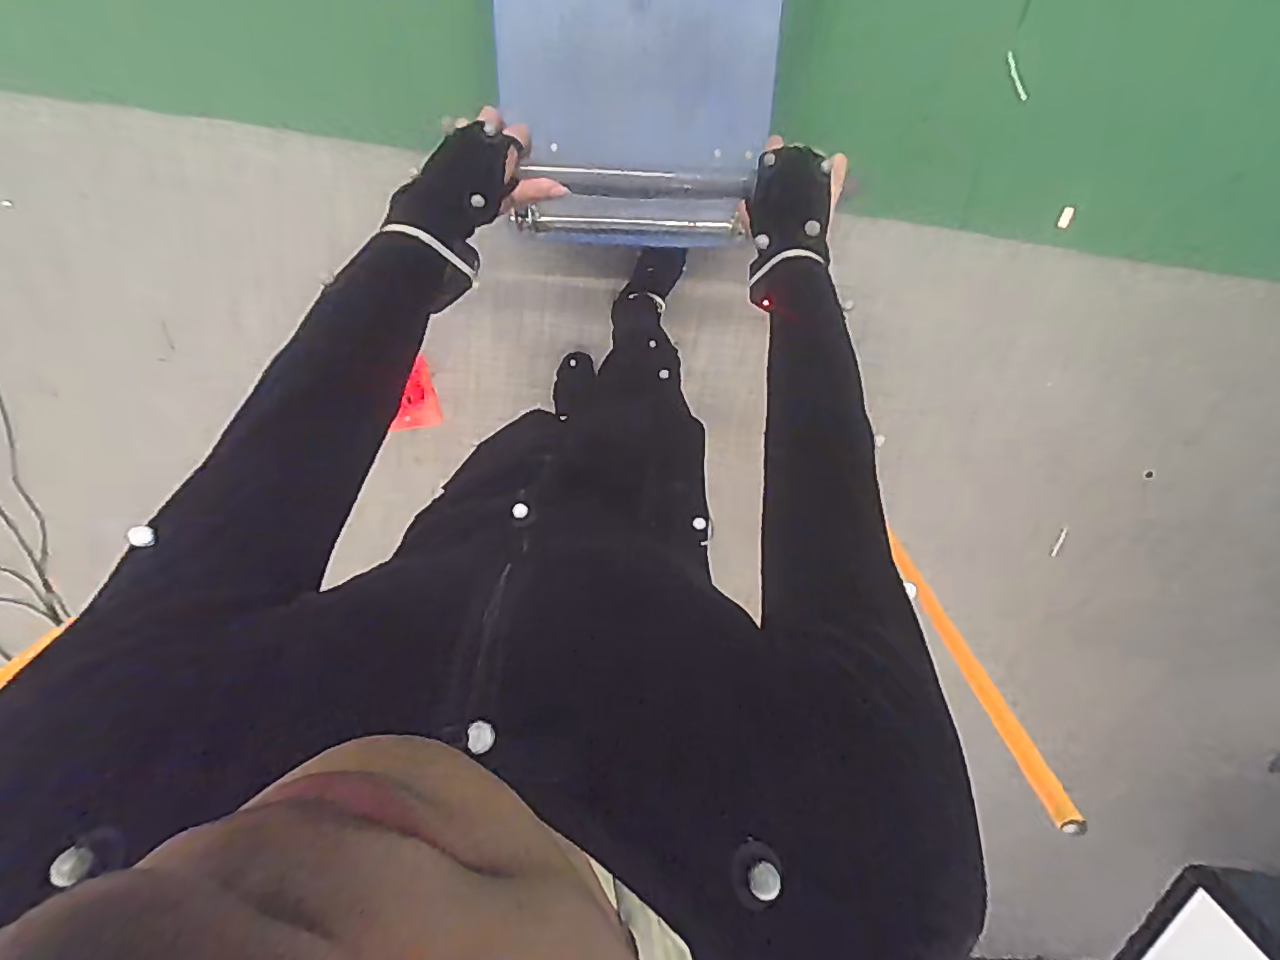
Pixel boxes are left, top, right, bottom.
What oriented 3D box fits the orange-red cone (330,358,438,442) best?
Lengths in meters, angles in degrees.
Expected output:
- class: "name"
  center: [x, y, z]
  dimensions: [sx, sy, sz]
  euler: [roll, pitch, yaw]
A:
- class: "orange-red cone"
  center: [-0.668, -0.167, 1.341]
  dimensions: [0.199, 0.360, 0.198]
  euler: [-7, 113, 1]
